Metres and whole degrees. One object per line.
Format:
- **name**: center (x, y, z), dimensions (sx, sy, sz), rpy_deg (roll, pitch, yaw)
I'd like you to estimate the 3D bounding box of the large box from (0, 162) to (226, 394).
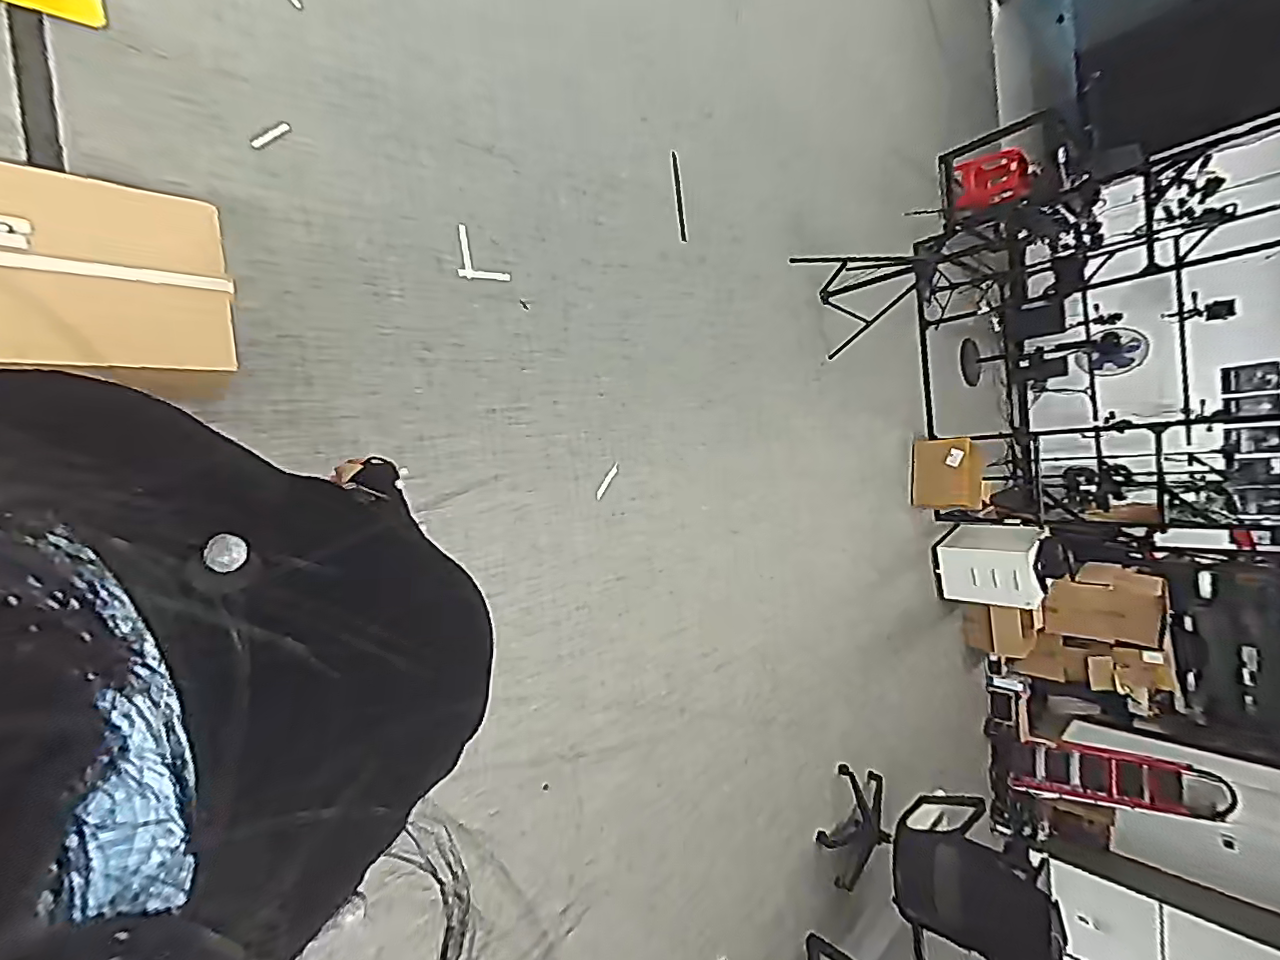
- **large box**: center (-1.027, -0.332, 0.971), dimensions (0.408, 0.320, 0.320), rpy_deg (-8, 90, -43)
